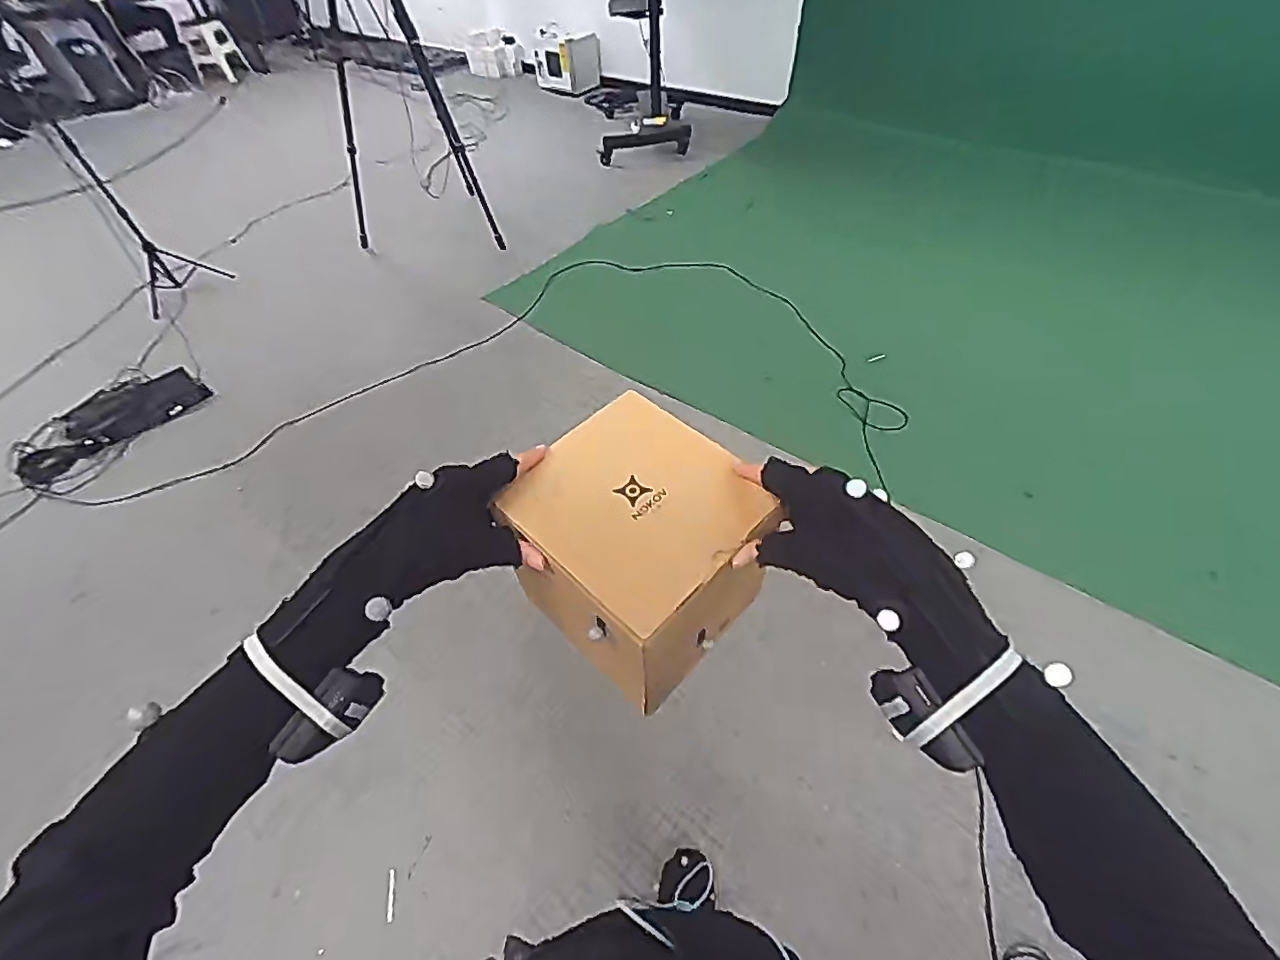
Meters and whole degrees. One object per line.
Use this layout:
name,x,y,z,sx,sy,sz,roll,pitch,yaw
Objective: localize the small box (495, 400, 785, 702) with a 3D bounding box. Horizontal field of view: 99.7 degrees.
small box,-0.002,0.066,0.491,0.179,0.176,0.168,38,61,26
